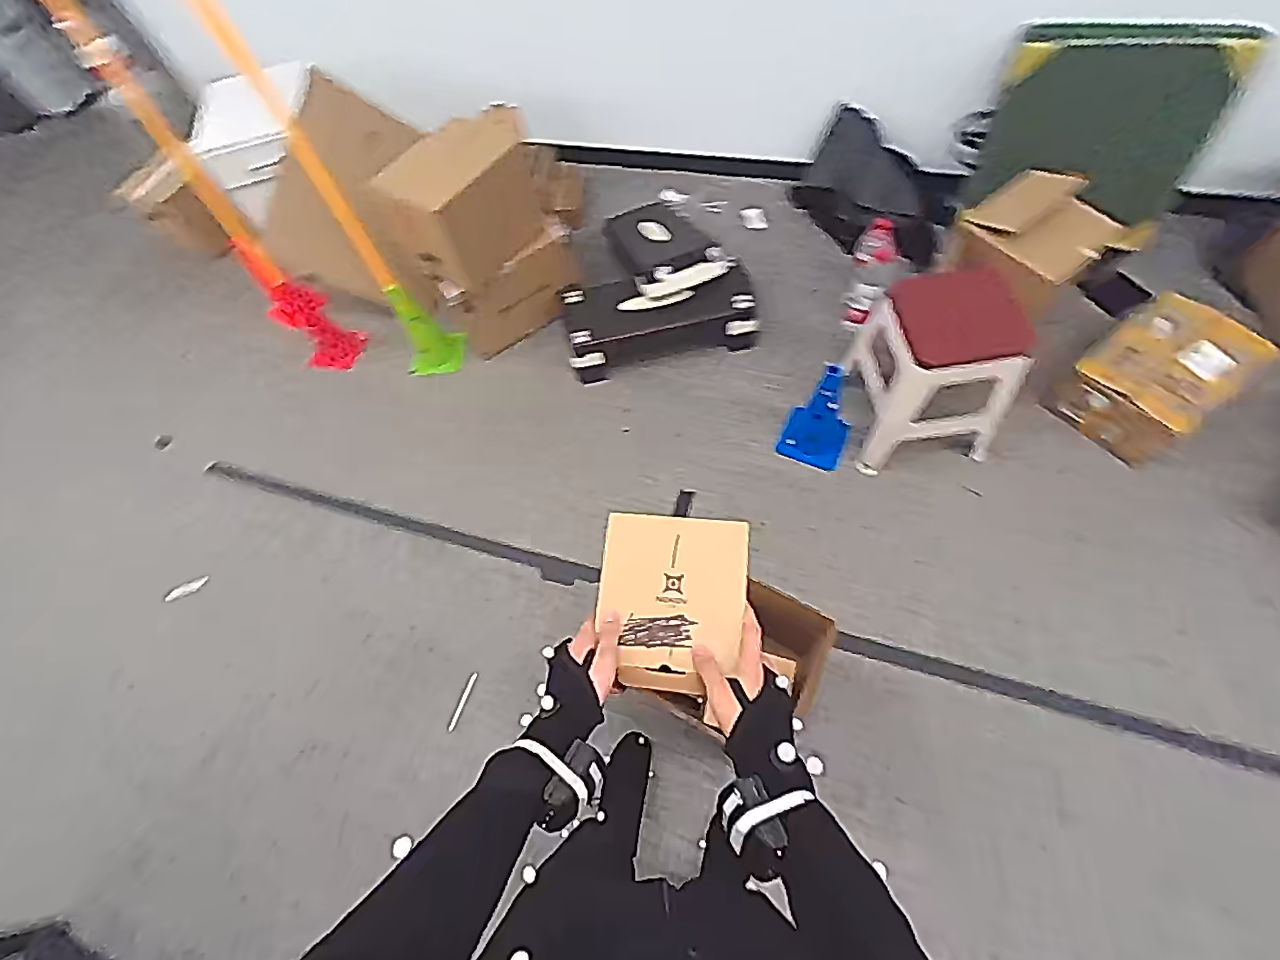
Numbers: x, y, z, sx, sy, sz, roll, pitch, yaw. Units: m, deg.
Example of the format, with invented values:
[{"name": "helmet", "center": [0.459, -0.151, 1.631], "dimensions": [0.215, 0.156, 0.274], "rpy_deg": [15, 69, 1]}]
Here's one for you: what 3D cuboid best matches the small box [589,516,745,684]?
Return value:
[{"name": "small box", "center": [0.042, 0.158, 0.682], "dimensions": [0.168, 0.176, 0.179], "rpy_deg": [4, 69, 8]}]
